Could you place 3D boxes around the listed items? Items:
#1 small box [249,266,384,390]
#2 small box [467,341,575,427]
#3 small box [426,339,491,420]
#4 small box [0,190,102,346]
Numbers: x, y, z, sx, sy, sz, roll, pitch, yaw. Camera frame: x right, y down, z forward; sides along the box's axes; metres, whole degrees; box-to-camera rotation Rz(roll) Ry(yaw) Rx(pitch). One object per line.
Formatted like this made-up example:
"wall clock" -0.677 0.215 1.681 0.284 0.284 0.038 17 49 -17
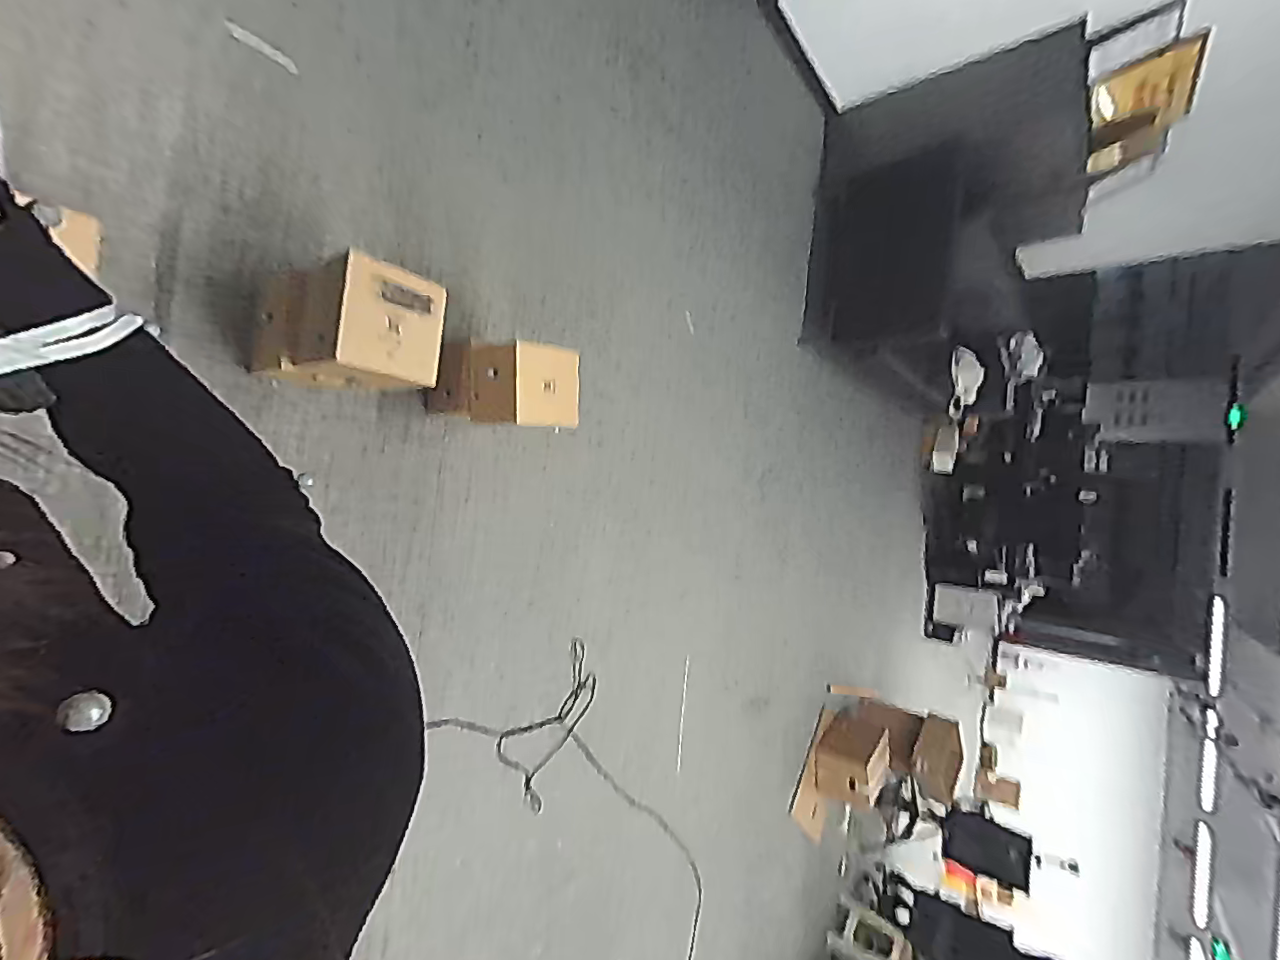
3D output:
"small box" -0.610 -0.271 1.016 0.168 0.176 0.179 8 87 -51
"small box" -0.264 -0.202 1.189 0.179 0.176 0.168 -4 97 -51
"small box" -0.389 -0.227 1.290 0.179 0.176 0.168 4 91 -51
"small box" -0.857 -0.281 0.716 0.179 0.176 0.168 6 88 -51
